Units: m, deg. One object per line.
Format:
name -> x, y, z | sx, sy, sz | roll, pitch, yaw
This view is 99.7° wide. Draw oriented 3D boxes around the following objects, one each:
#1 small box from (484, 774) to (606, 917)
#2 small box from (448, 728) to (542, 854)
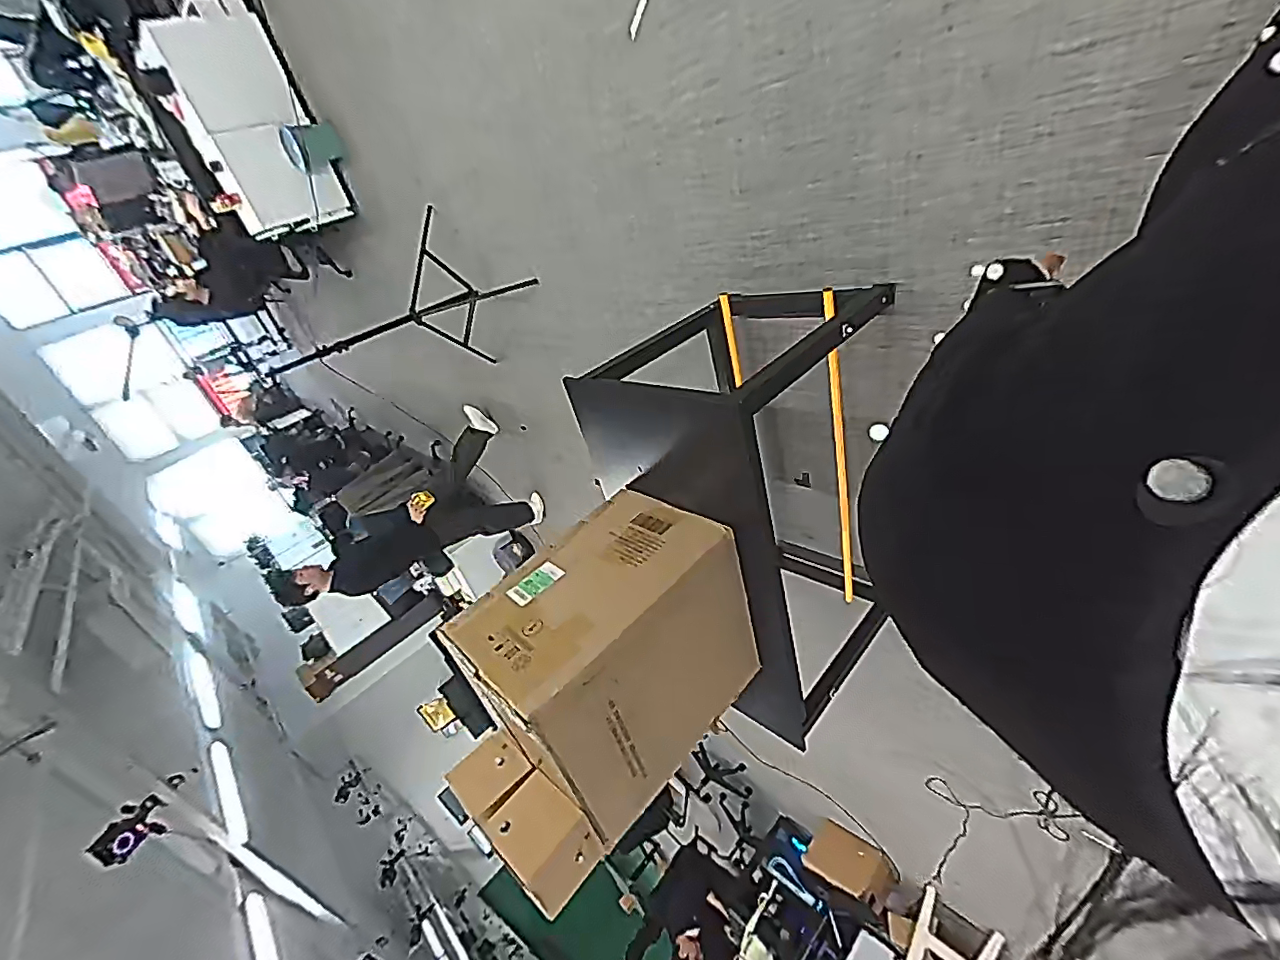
small box -> -0.205, 0.789, 1.190 | 0.179, 0.176, 0.168 | 15, 133, 43
small box -> -0.335, 0.763, 1.338 | 0.168, 0.176, 0.179 | 20, 136, 45
